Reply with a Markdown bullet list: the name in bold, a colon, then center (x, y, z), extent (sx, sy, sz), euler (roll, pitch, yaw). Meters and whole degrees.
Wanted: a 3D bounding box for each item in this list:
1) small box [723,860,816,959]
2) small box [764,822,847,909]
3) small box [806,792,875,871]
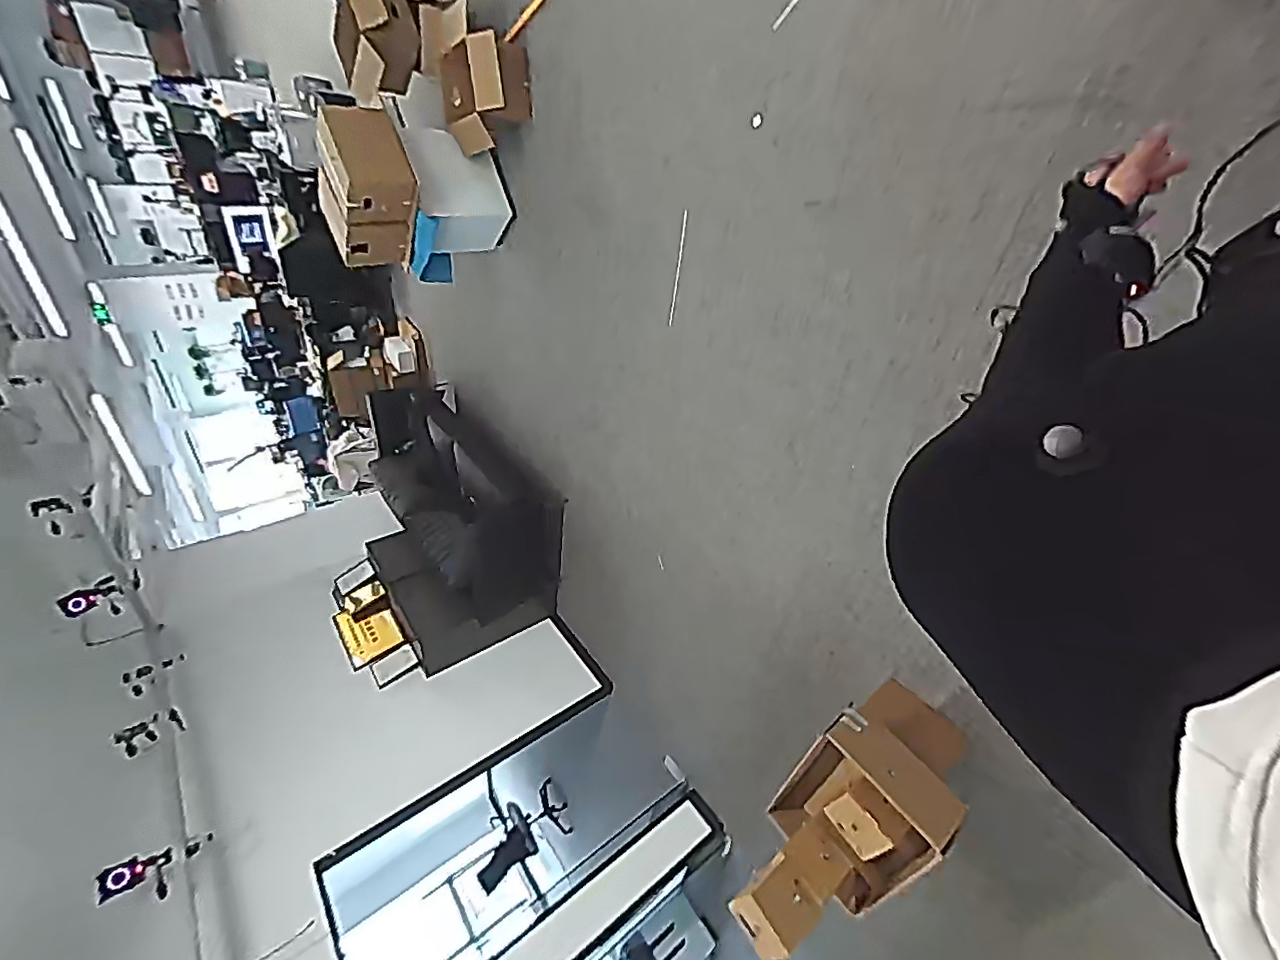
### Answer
- **small box**: center (0.381, 1.262, 1.582), extent (0.168, 0.176, 0.179), euler (50, 139, 29)
- **small box**: center (0.507, 1.213, 1.676), extent (0.168, 0.176, 0.179), euler (42, 135, 36)
- **small box**: center (0.633, 1.173, 1.770), extent (0.168, 0.176, 0.179), euler (42, 135, 35)
